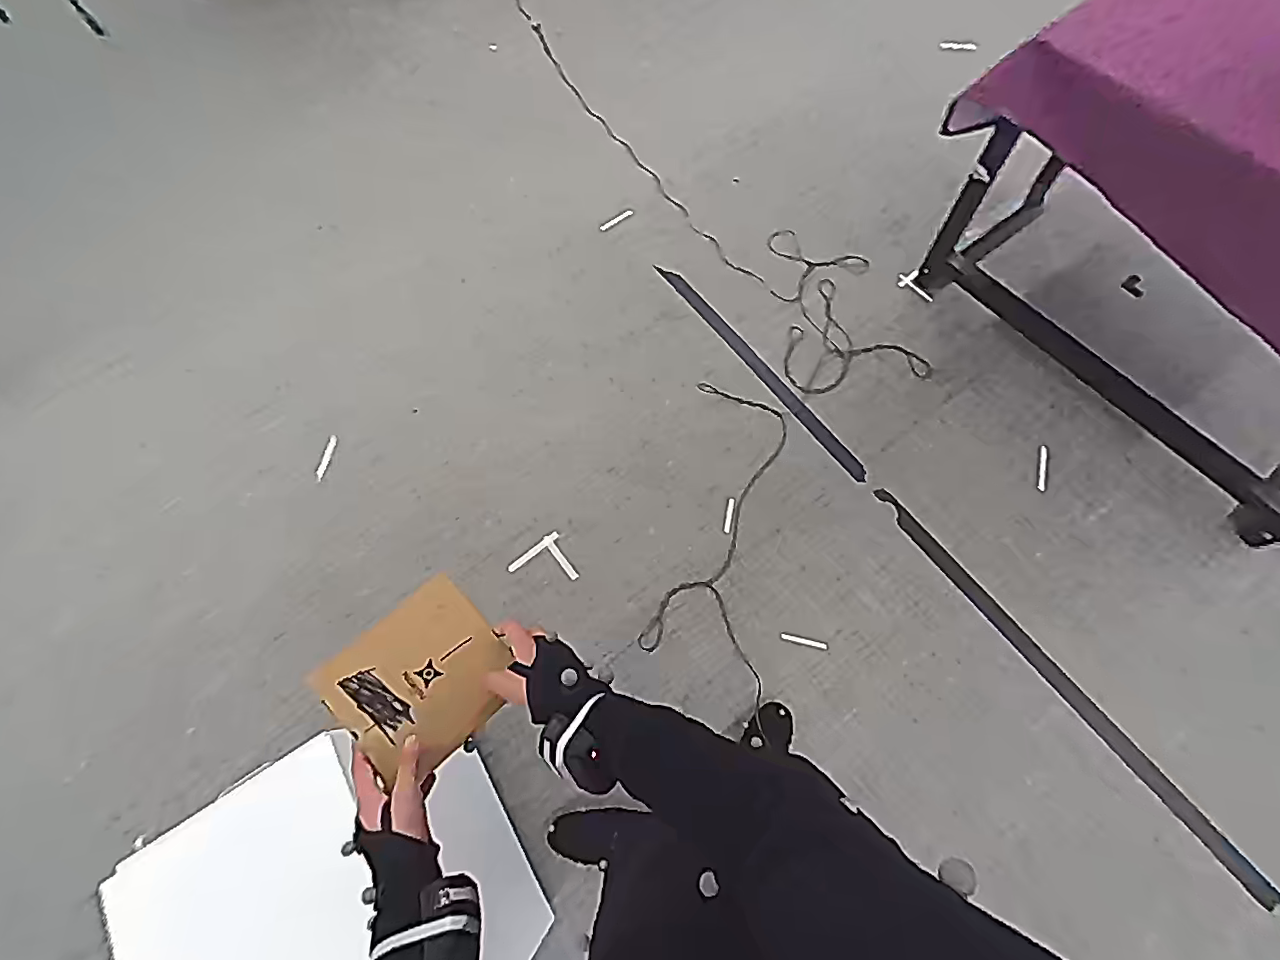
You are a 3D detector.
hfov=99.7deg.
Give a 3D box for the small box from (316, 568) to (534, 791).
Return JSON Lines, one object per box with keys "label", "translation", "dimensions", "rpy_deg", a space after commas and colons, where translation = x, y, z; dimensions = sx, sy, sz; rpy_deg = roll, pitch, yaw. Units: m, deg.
{"label": "small box", "translation": [-0.245, 0.238, 0.667], "dimensions": [0.179, 0.176, 0.168], "rpy_deg": [-39, 81, -21]}
